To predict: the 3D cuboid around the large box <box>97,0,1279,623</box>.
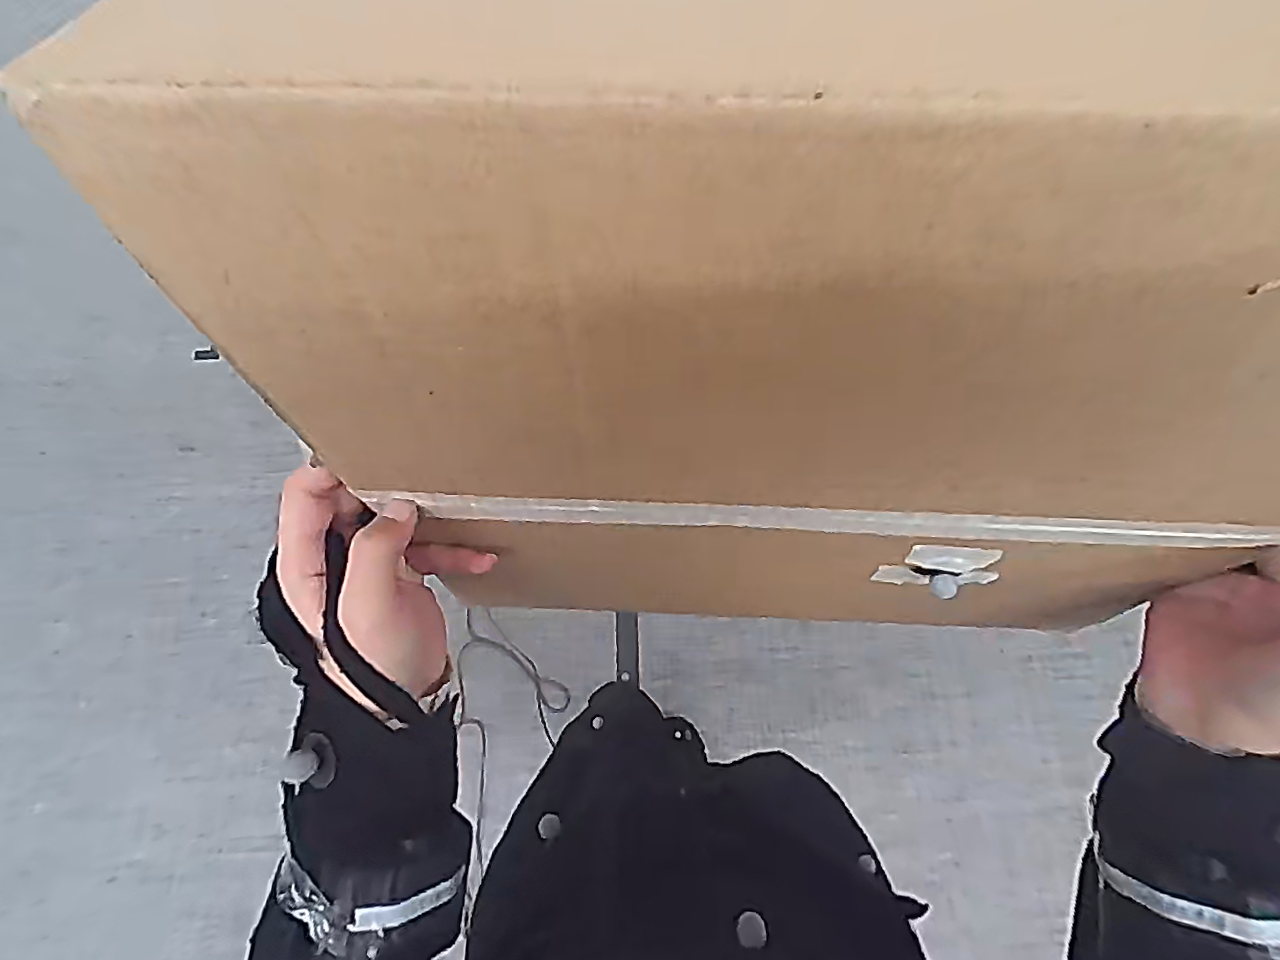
[{"bbox_3d":[0.079,-0.114,0.315,0.408,0.320,0.320,1,60,1],"label":"large box"}]
